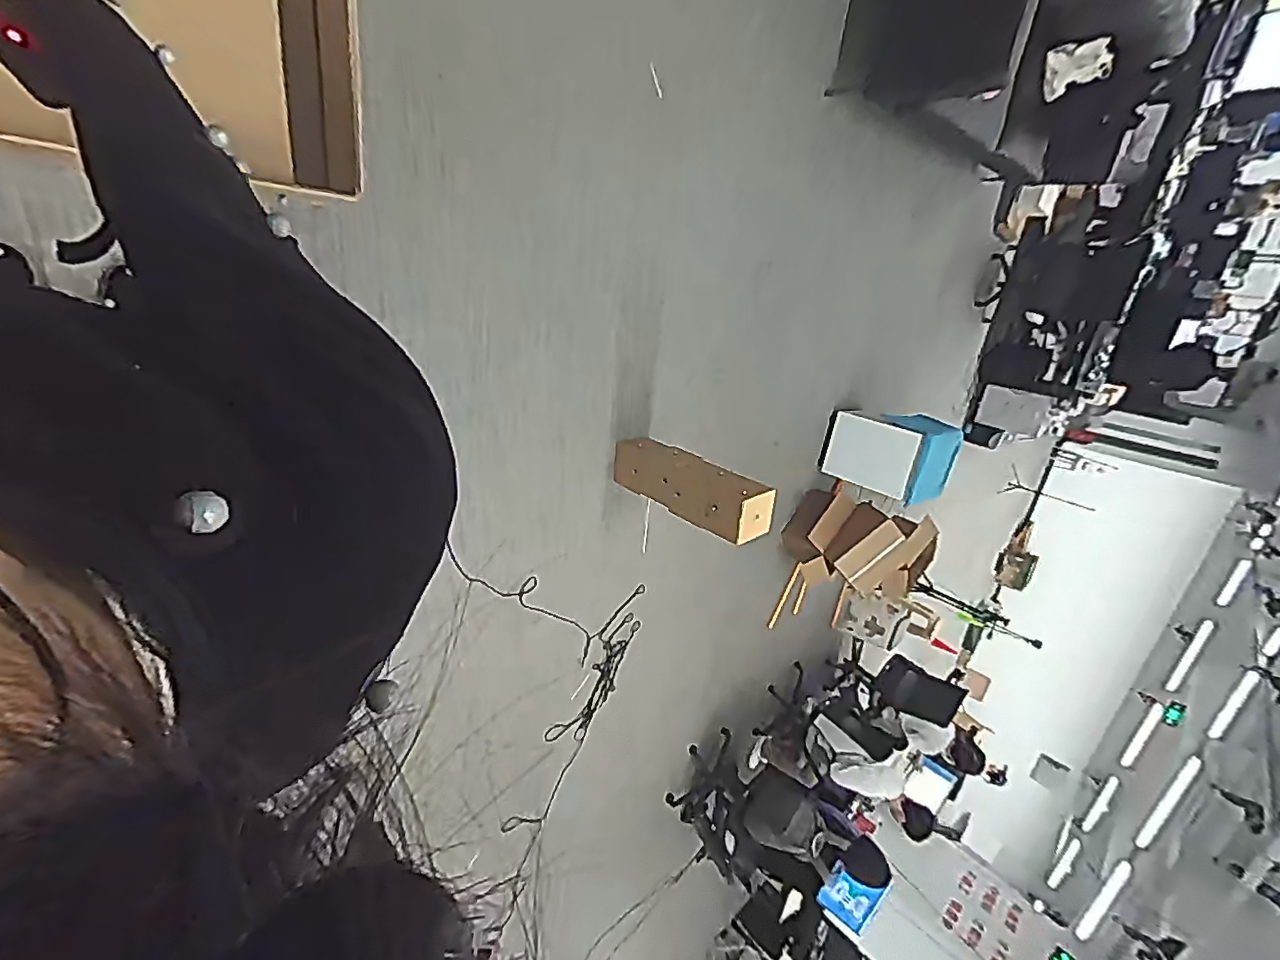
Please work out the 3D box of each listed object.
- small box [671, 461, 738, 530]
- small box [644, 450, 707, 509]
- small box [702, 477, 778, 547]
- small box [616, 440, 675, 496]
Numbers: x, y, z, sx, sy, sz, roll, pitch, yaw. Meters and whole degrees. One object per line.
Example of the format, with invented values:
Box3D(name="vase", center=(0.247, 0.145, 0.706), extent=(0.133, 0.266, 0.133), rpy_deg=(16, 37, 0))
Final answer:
Box3D(name="small box", center=(0.229, 0.052, 1.947), extent=(0.168, 0.176, 0.179), rpy_deg=(-16, 121, -40))
Box3D(name="small box", center=(0.130, -0.010, 2.063), extent=(0.168, 0.176, 0.179), rpy_deg=(-13, 119, -40))
Box3D(name="small box", center=(0.337, 0.101, 1.834), extent=(0.179, 0.176, 0.168), rpy_deg=(-15, 119, -39))
Box3D(name="small box", center=(0.019, -0.055, 2.174), extent=(0.168, 0.176, 0.179), rpy_deg=(-14, 120, -41))
